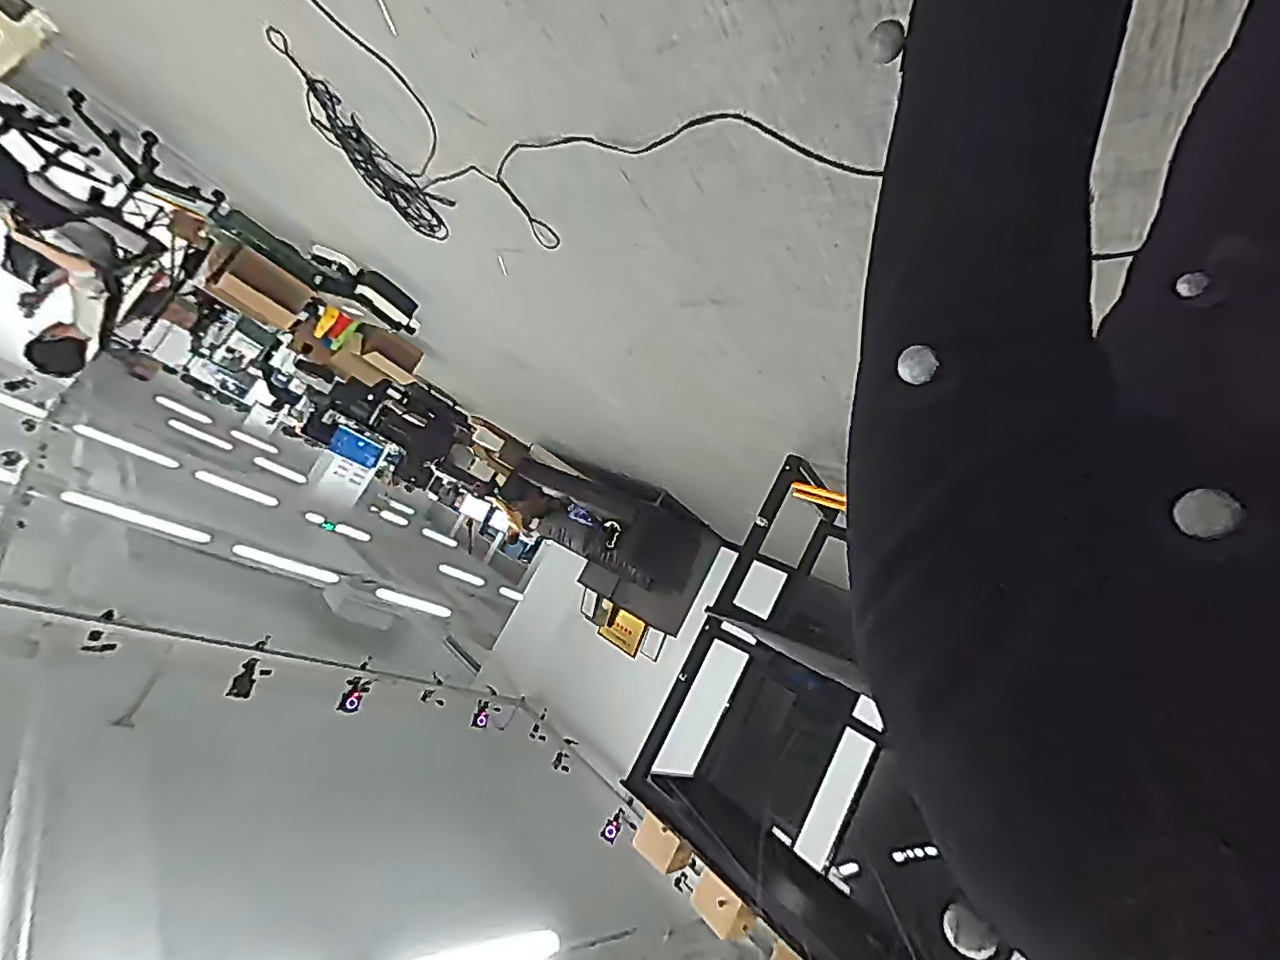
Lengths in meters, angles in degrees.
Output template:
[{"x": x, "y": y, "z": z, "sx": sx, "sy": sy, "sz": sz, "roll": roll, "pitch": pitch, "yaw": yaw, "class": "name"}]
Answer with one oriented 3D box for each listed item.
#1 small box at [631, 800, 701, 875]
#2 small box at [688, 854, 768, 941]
[{"x": 0.103, "y": 1.339, "z": 2.040, "sx": 0.168, "sy": 0.176, "sz": 0.179, "roll": 21, "pitch": 167, "yaw": 38, "class": "small box"}, {"x": 0.300, "y": 1.407, "z": 1.833, "sx": 0.168, "sy": 0.176, "sz": 0.179, "roll": 19, "pitch": 167, "yaw": 49, "class": "small box"}]
